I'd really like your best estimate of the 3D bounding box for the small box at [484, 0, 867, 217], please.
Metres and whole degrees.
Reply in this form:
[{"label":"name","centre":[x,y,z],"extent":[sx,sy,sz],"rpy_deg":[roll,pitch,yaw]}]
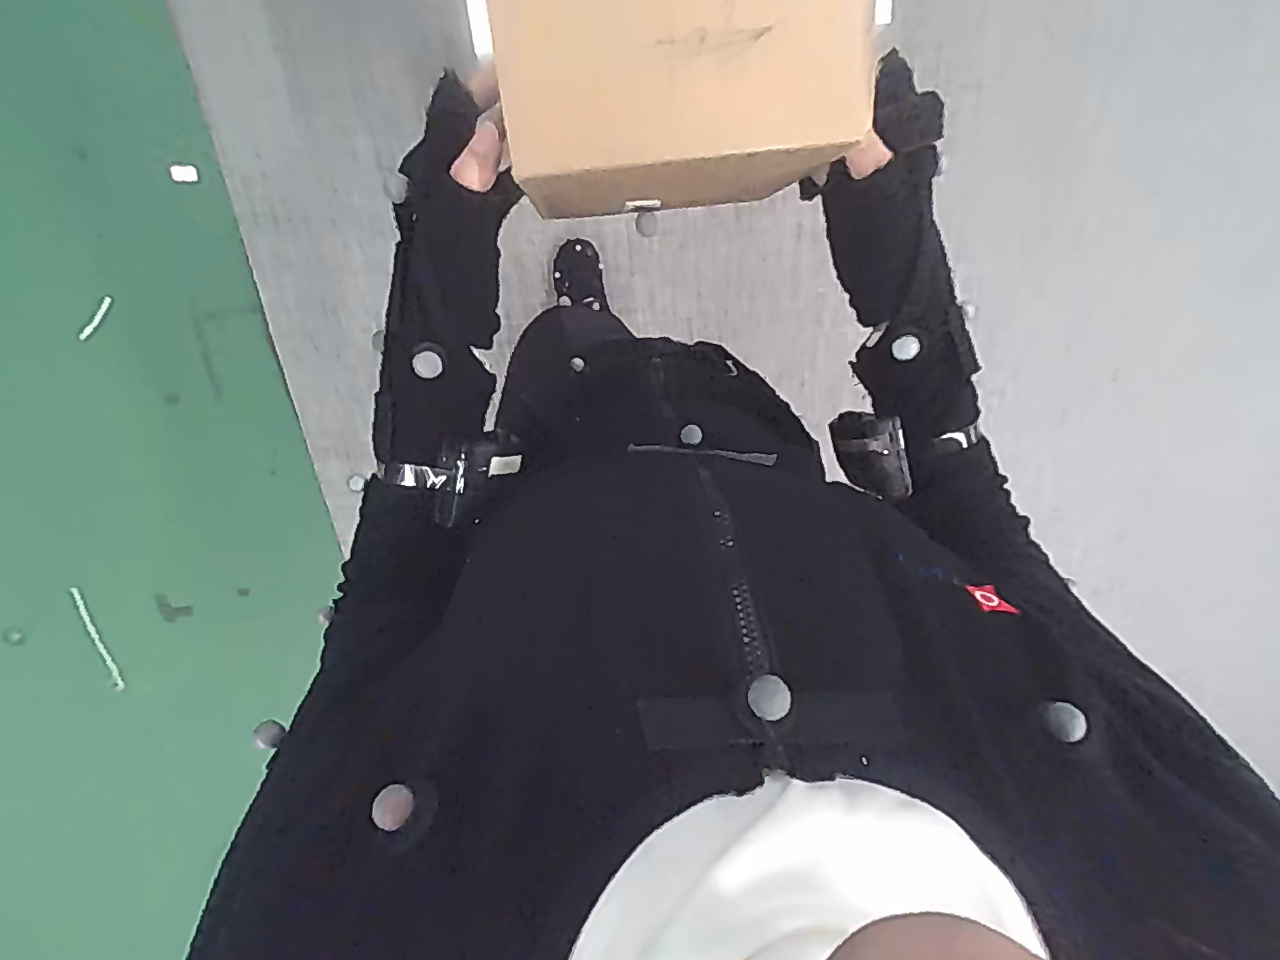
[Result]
[{"label":"small box","centre":[0.007,-0.256,0.293],"extent":[0.168,0.176,0.179],"rpy_deg":[-7,110,-1]}]
